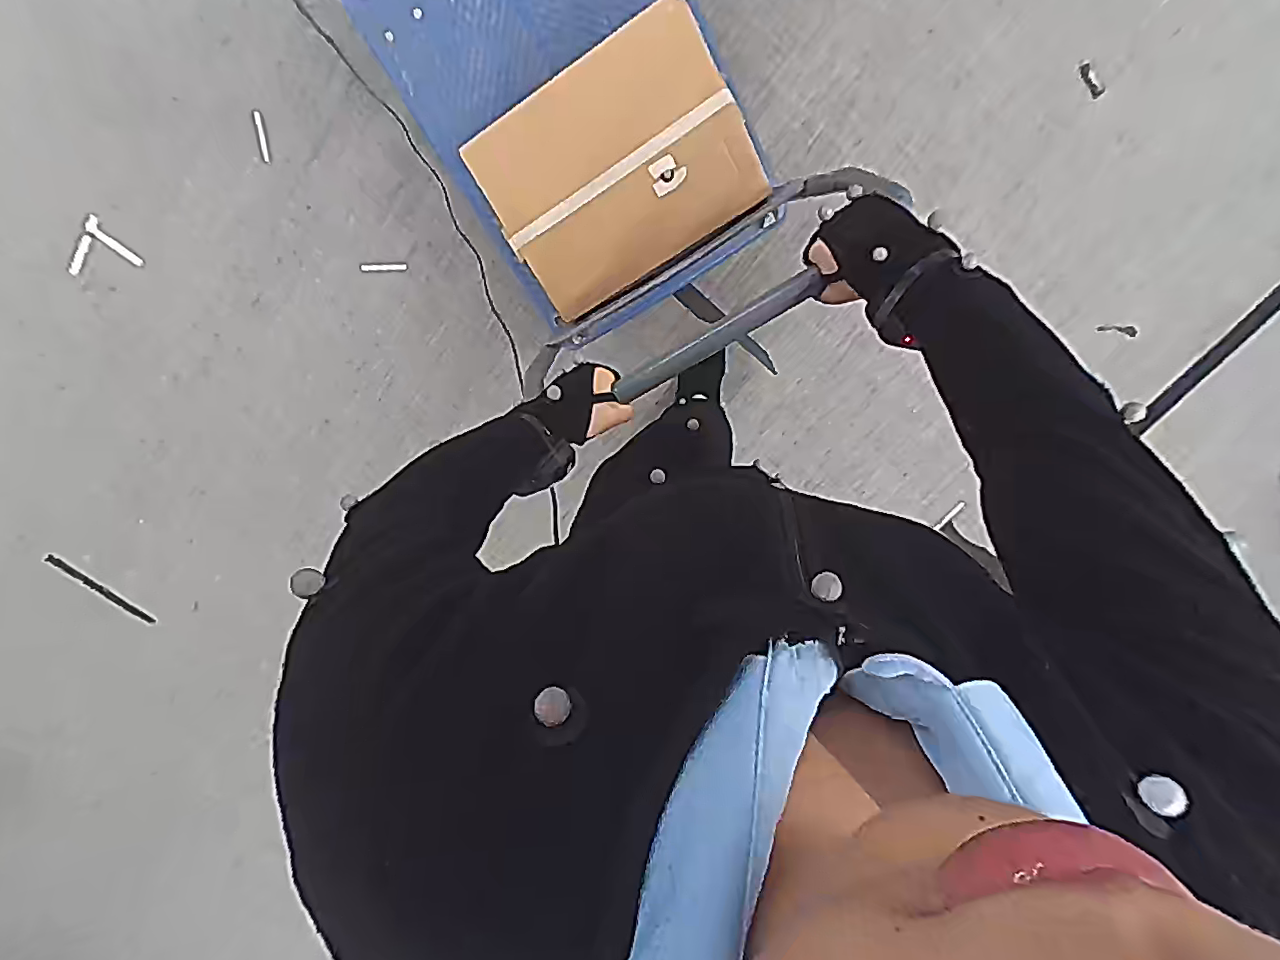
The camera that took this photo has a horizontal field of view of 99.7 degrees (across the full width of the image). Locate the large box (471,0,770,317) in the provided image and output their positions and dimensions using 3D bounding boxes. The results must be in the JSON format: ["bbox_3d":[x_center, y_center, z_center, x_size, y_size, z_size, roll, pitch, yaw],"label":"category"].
[{"bbox_3d":[-0.031,-0.555,1.017,0.408,0.320,0.320,-29,109,11],"label":"large box"}]
